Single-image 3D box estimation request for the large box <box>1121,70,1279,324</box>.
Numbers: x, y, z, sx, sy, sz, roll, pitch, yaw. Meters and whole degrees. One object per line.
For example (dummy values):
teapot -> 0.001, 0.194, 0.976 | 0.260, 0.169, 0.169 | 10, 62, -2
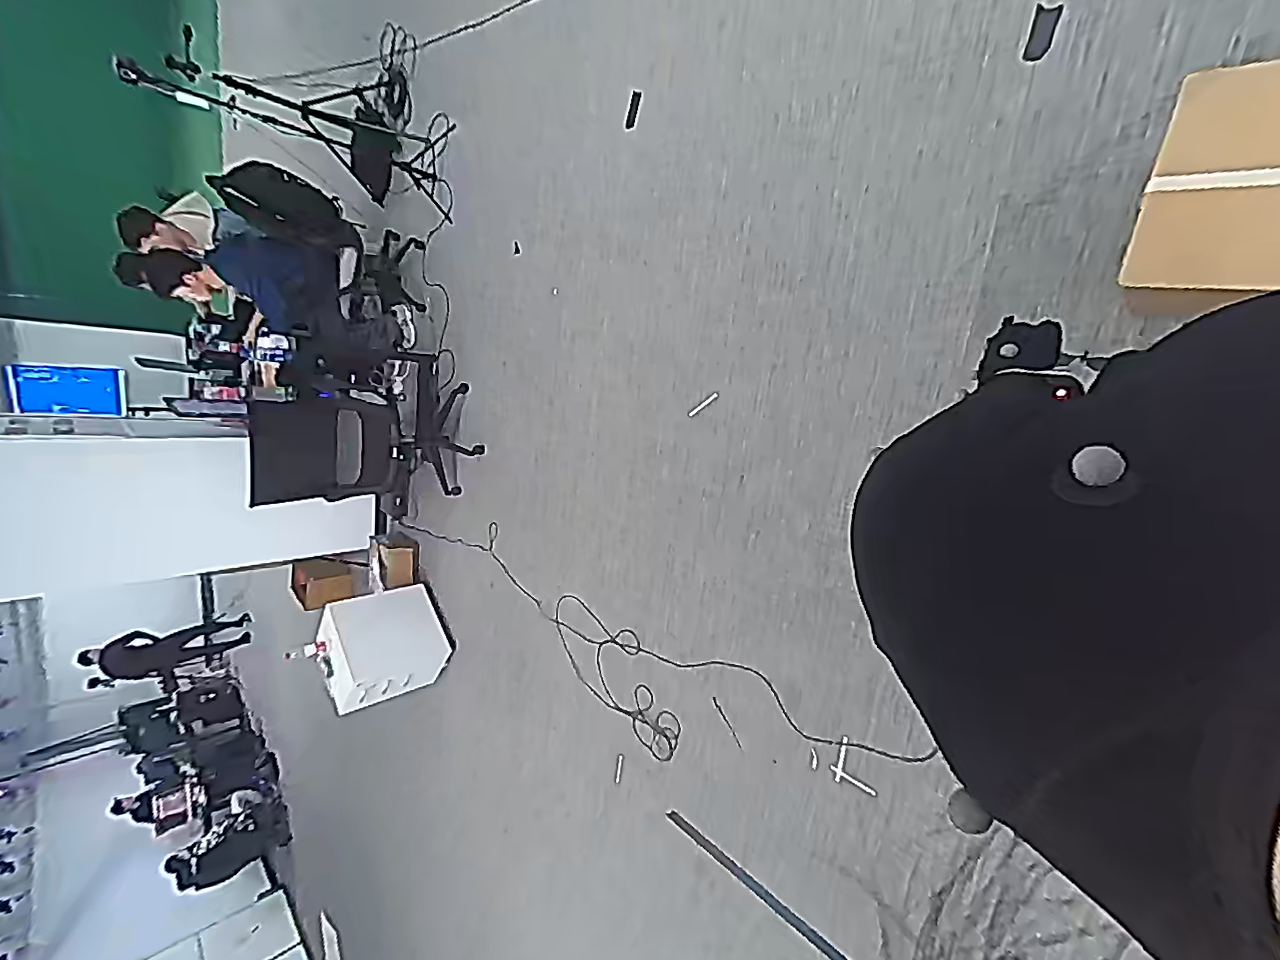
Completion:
large box -> 1.065, -0.424, 0.851 | 0.408, 0.320, 0.320 | 20, 108, 40
